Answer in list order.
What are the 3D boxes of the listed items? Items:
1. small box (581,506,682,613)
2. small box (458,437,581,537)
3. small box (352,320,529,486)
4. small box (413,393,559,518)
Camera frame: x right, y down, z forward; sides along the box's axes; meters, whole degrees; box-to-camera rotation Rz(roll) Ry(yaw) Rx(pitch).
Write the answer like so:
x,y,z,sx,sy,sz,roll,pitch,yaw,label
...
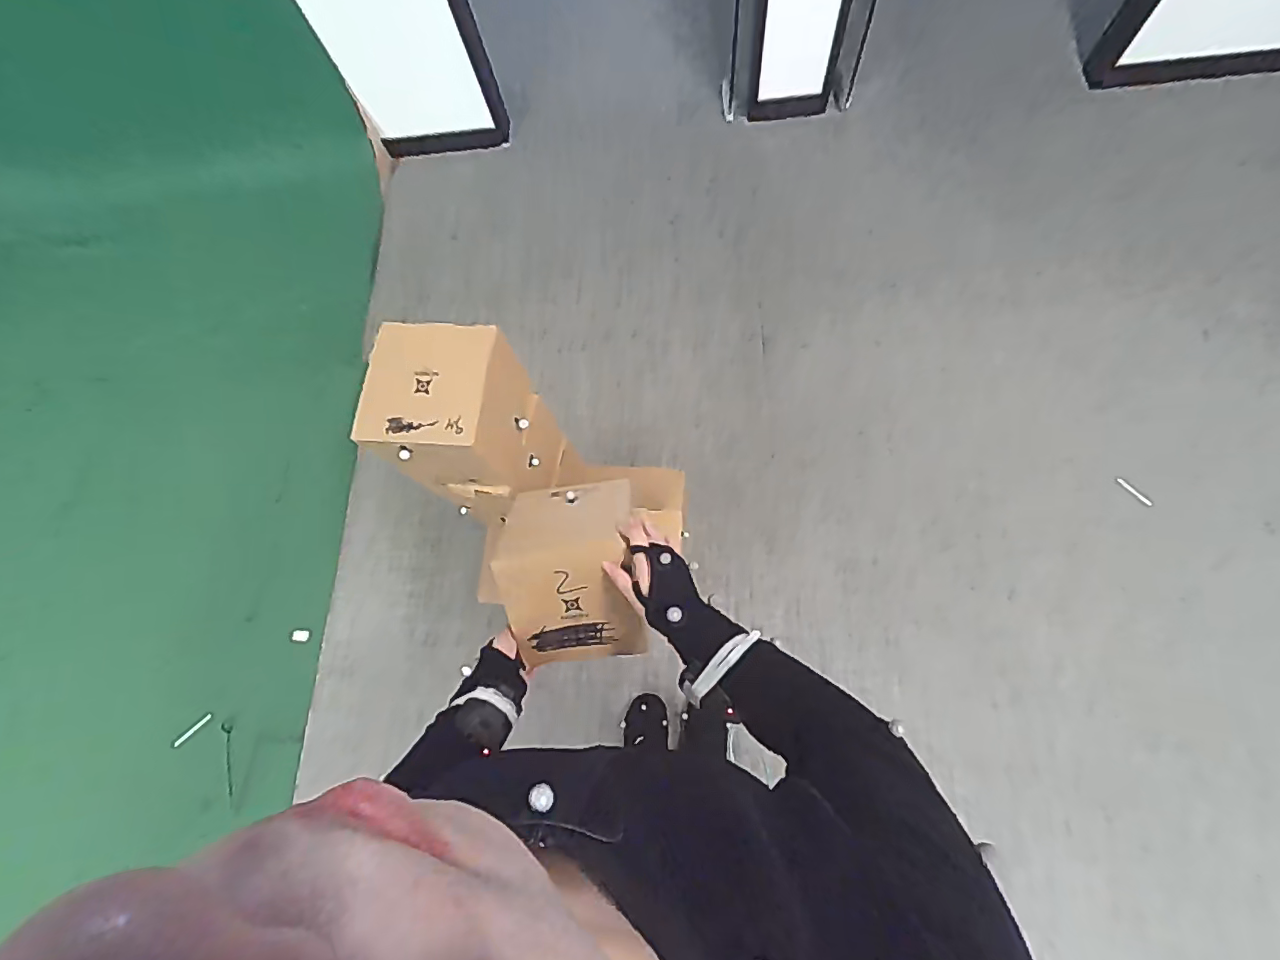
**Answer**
x,y,z,sx,sy,sz,roll,pitch,yaw,label
-0.008,0.154,1.012,0.168,0.176,0.179,1,72,6,small box
-0.231,0.009,1.082,0.179,0.176,0.168,9,73,7,small box
-0.268,-0.105,0.775,0.168,0.176,0.179,4,71,7,small box
-0.250,-0.046,0.928,0.168,0.176,0.179,11,72,9,small box
